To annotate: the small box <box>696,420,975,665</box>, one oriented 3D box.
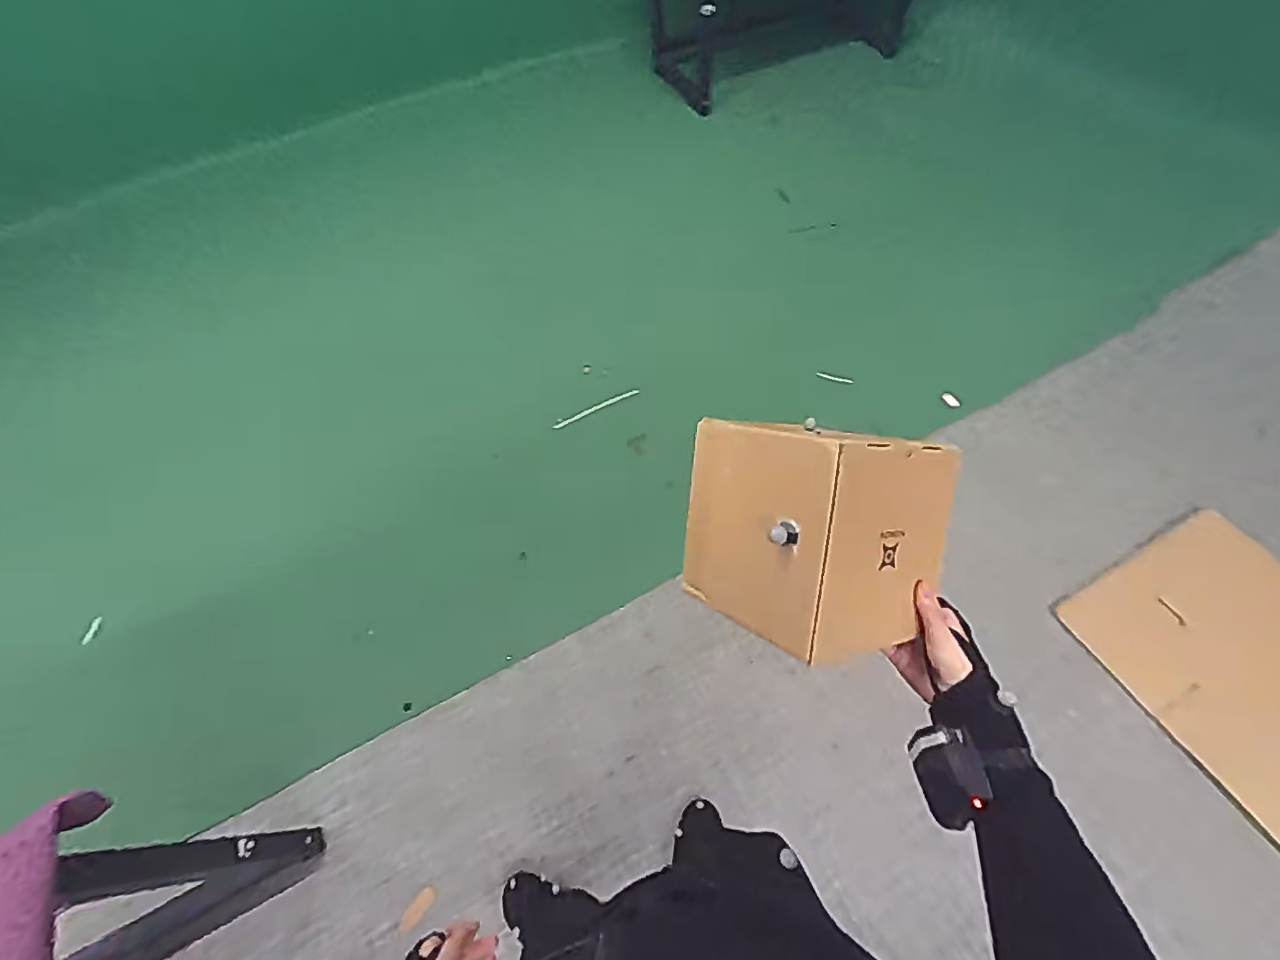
[{"bbox_3d":[0.170,0.043,0.505,0.168,0.179,0.176,1,10,-33],"label":"small box"}]
